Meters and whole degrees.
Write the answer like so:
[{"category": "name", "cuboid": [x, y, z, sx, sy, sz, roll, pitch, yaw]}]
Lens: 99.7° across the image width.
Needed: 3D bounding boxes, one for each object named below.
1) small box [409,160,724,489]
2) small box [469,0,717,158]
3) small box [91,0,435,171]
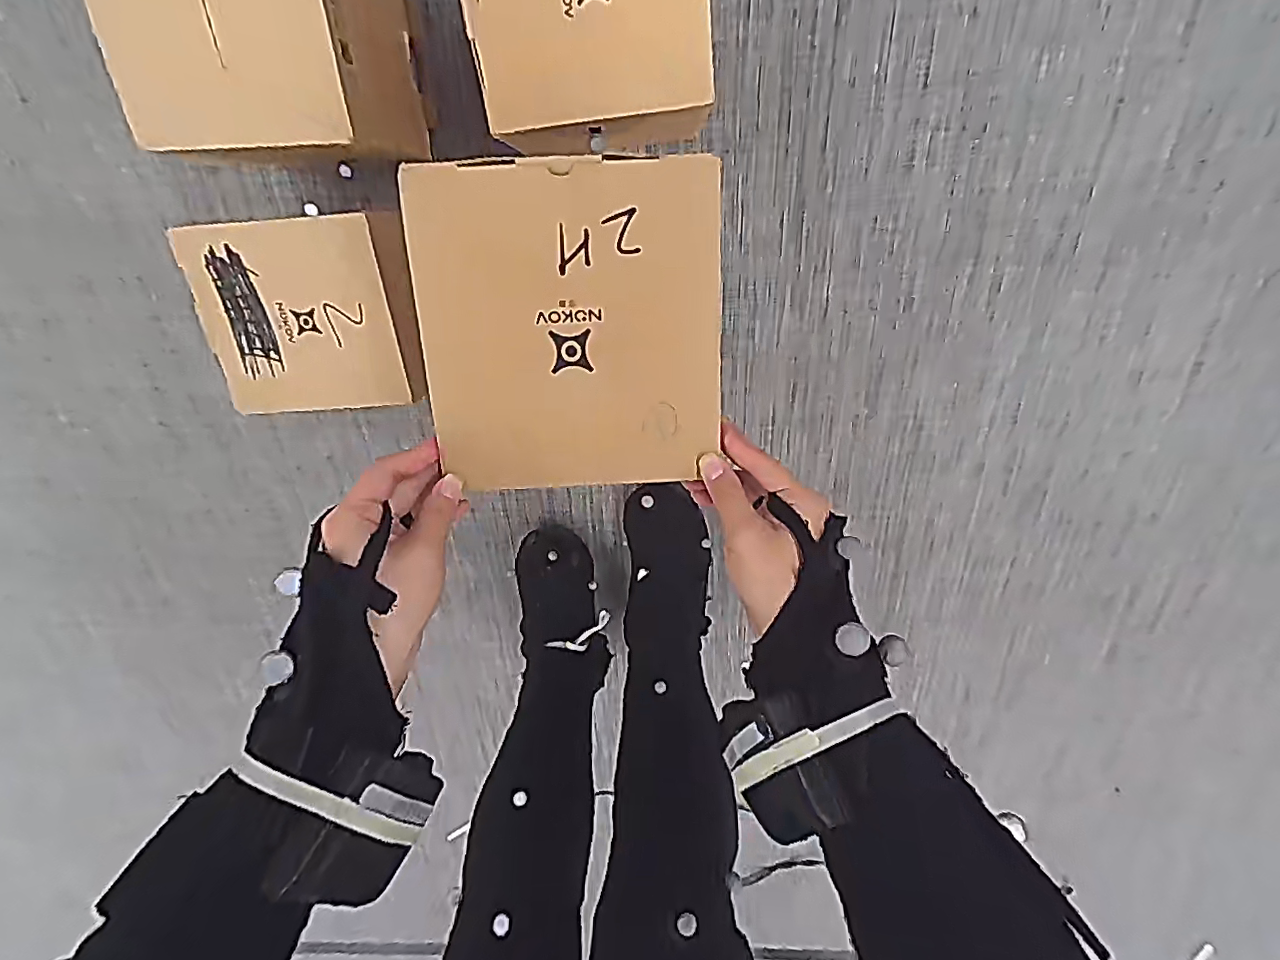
[{"category": "small box", "cuboid": [-0.038, -0.103, 0.379, 0.168, 0.176, 0.179, -3, 106, -2]}, {"category": "small box", "cuboid": [-0.035, -0.382, 0.455, 0.179, 0.176, 0.168, -5, 115, 4]}, {"category": "small box", "cuboid": [-0.304, -0.367, 0.461, 0.179, 0.176, 0.168, -1, 115, 2]}]
